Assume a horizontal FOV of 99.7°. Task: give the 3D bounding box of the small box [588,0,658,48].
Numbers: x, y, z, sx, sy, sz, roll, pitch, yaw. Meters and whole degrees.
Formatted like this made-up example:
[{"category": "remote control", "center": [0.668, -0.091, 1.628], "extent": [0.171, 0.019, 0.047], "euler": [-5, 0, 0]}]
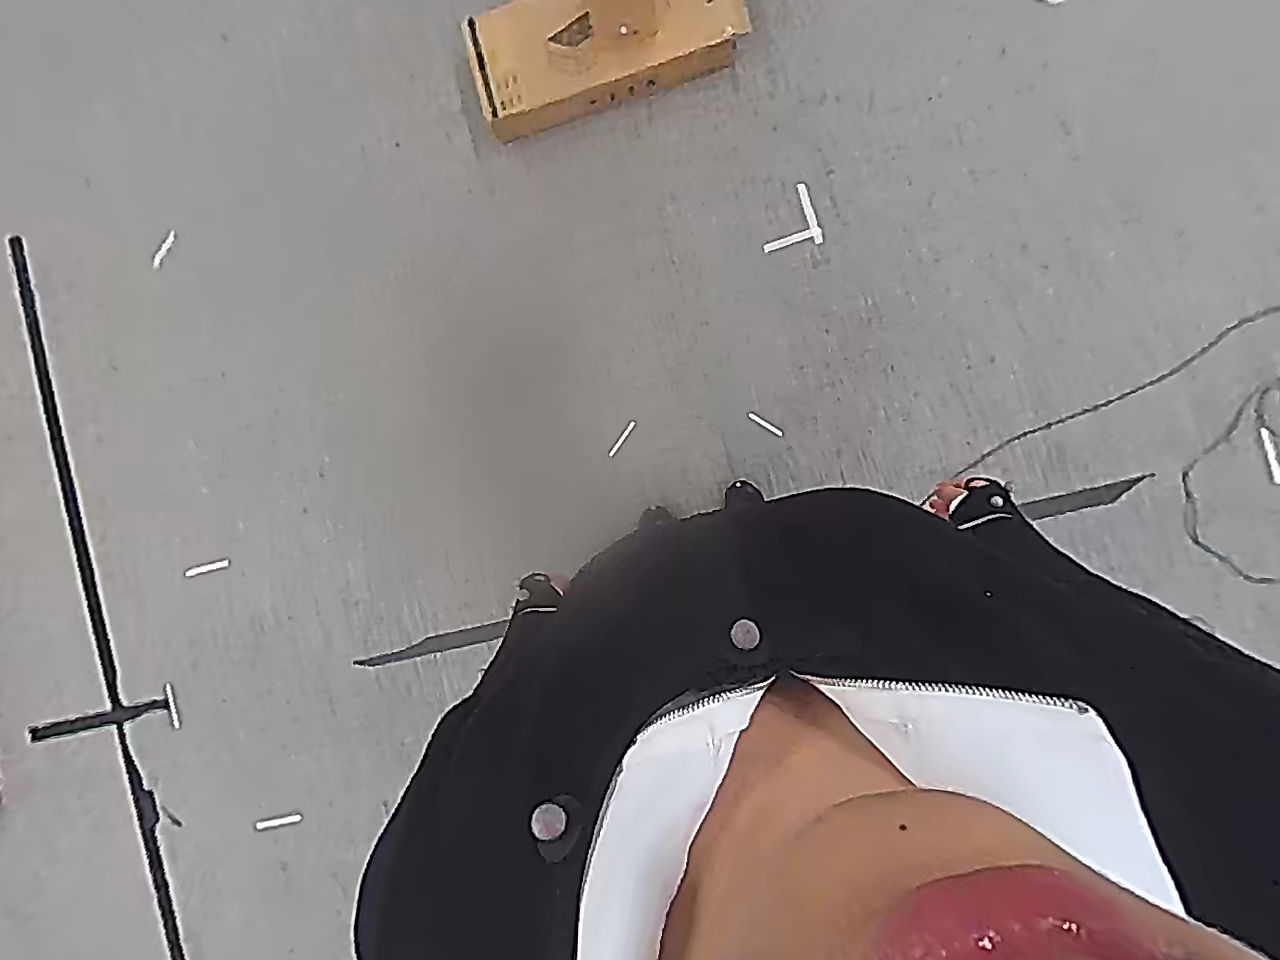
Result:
[{"category": "small box", "center": [-0.054, -1.248, 1.355], "extent": [0.168, 0.176, 0.179], "euler": [-11, 88, 7]}]
